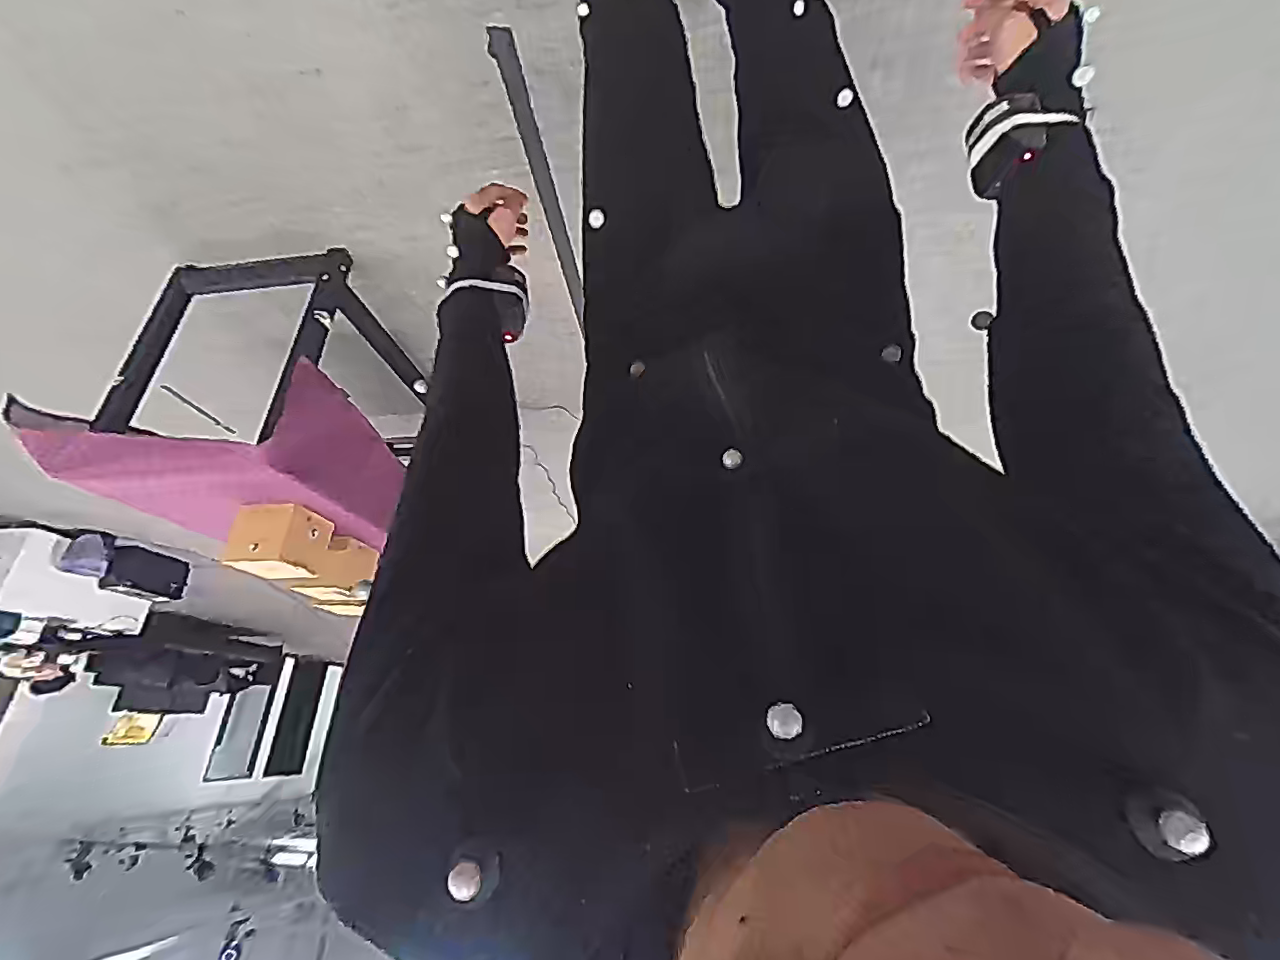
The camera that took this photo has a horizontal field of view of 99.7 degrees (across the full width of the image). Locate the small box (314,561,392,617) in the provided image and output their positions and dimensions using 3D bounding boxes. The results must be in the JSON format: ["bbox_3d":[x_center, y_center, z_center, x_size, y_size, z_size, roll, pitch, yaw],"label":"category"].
[{"bbox_3d":[-1.048,0.401,1.990,0.179,0.176,0.168,-3,155,7],"label":"small box"}]

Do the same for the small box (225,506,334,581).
[{"bbox_3d":[-1.010,0.182,1.533,0.179,0.176,0.168,-3,154,9],"label":"small box"}]
